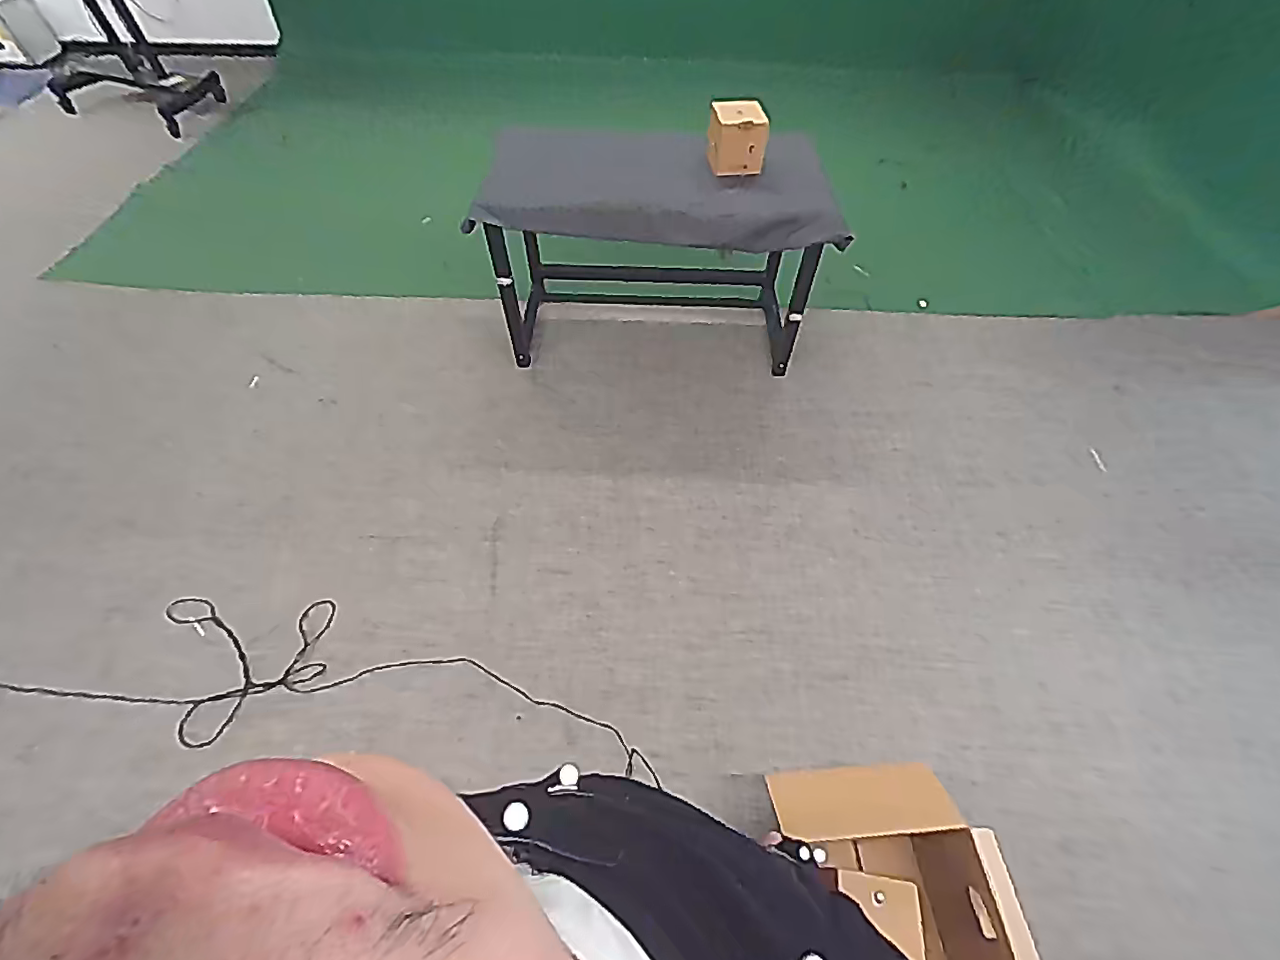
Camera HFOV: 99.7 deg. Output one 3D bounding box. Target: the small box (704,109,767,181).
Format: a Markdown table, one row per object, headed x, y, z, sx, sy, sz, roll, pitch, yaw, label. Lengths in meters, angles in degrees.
| x | y | z | sx | sy | sz | roll | pitch | yaw | label |
| --- | --- | --- | --- | --- | --- | --- | --- | --- | --- |
| 0.329 | -1.171 | 1.894 | 0.168 | 0.176 | 0.179 | -4 | 54 | -6 | small box |
